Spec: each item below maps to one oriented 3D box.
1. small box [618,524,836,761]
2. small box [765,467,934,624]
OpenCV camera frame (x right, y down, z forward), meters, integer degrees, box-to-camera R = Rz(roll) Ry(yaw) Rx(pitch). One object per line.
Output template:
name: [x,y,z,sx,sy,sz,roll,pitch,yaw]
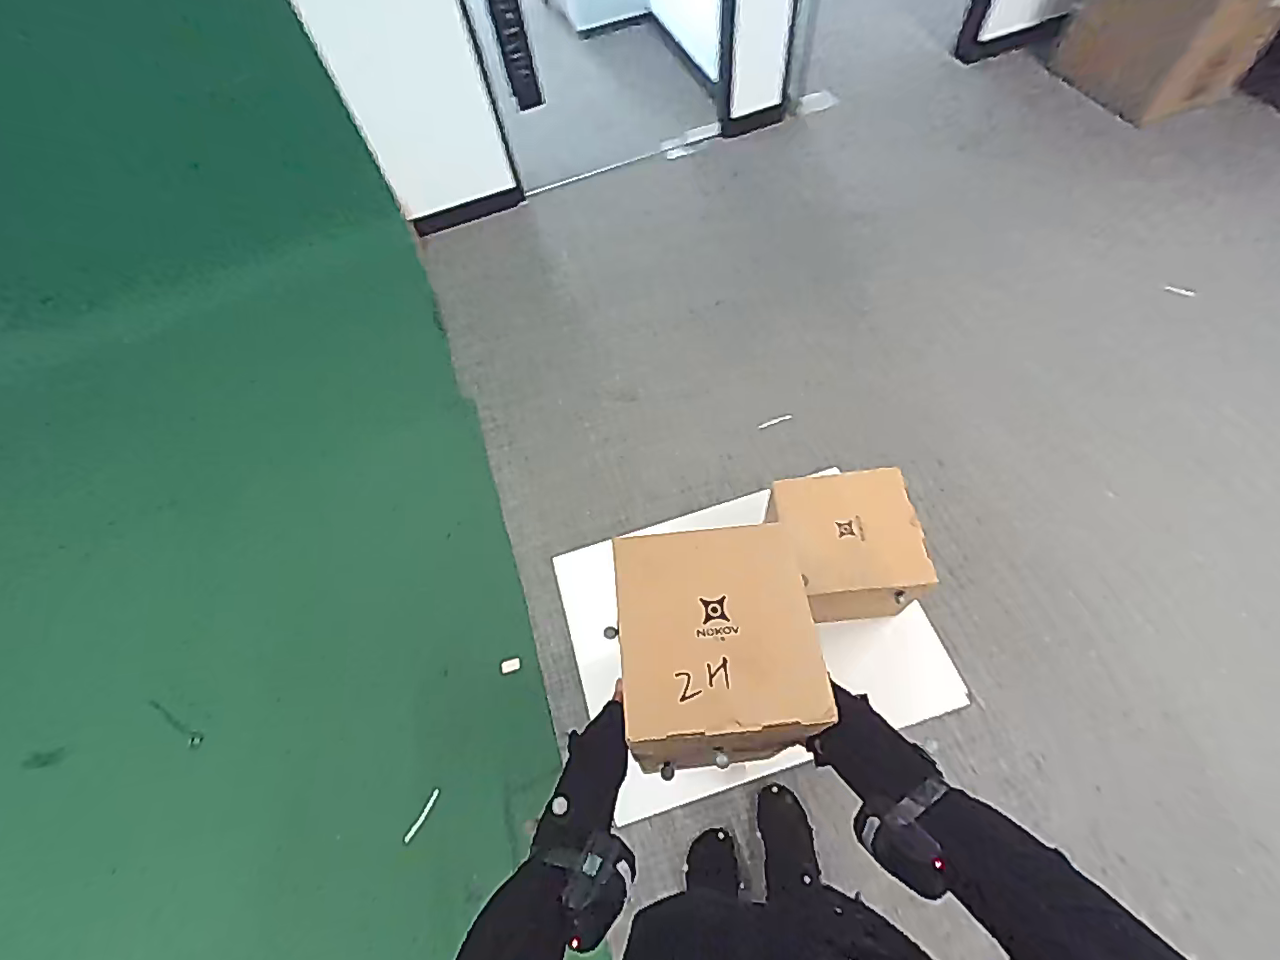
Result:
small box: [0.066,0.162,0.524,0.168,0.176,0.179,-5,58,0]
small box: [0.278,0.102,0.770,0.179,0.176,0.168,-7,61,3]
